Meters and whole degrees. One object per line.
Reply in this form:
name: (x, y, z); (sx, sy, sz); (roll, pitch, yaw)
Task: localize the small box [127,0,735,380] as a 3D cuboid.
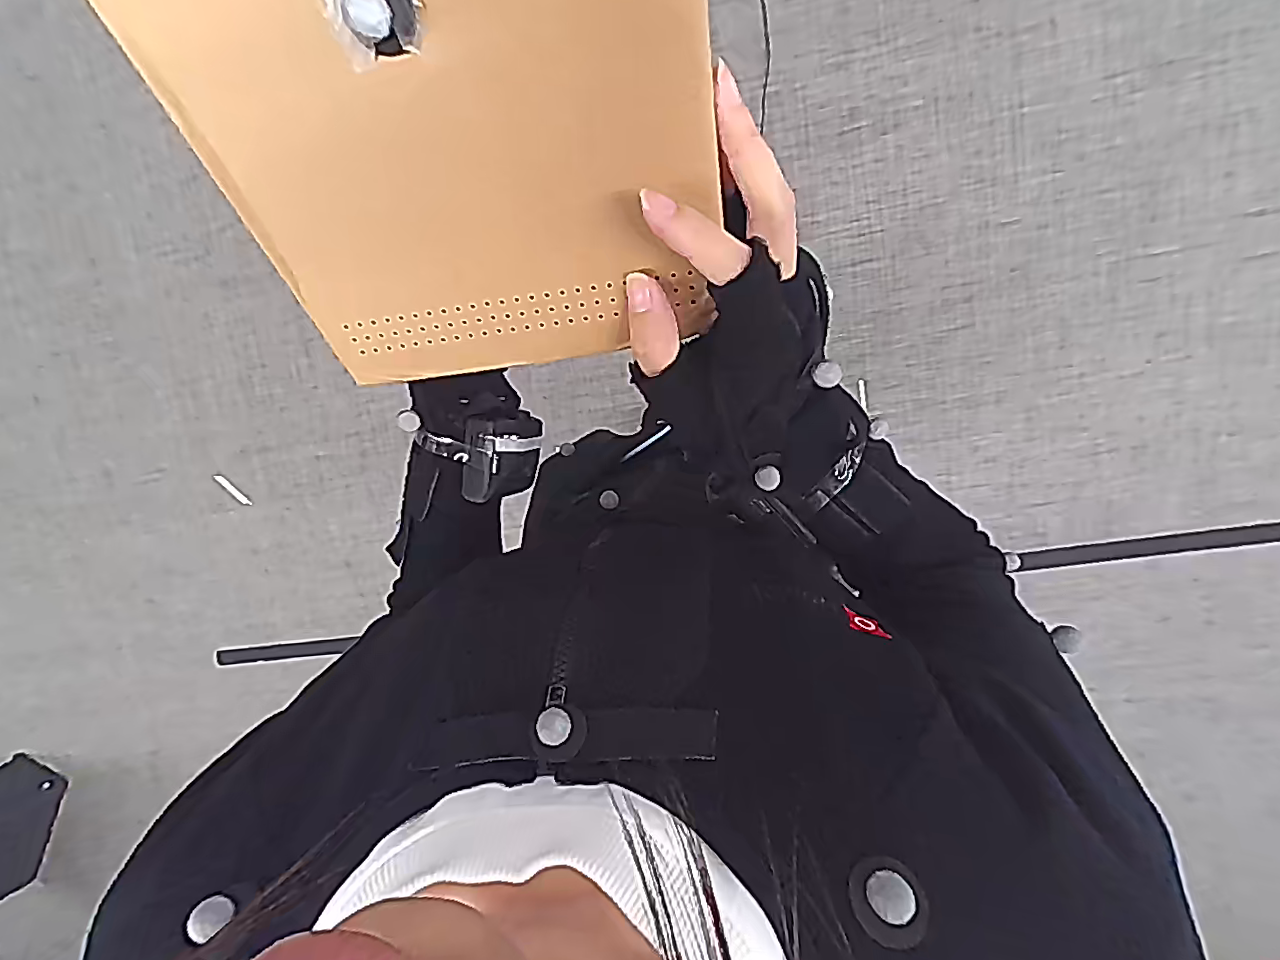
small box: (-0.055, -0.161, 0.242); (0.179, 0.168, 0.176); (-5, 138, 9)
